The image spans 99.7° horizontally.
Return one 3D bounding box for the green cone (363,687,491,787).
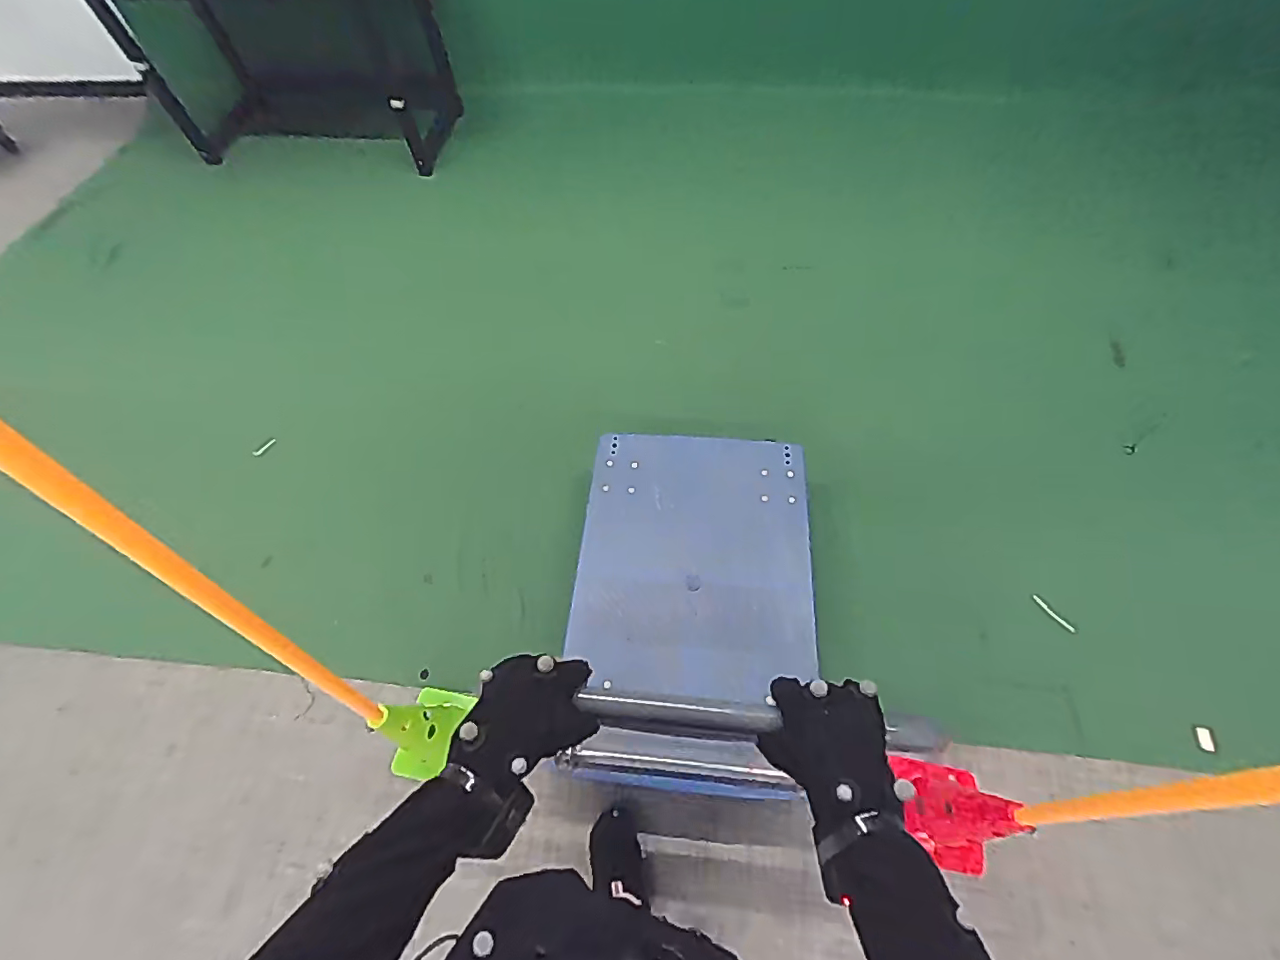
[{"bbox_3d":[-0.491,0.533,1.178,0.202,0.368,0.200,8,59,9],"label":"green cone"}]
